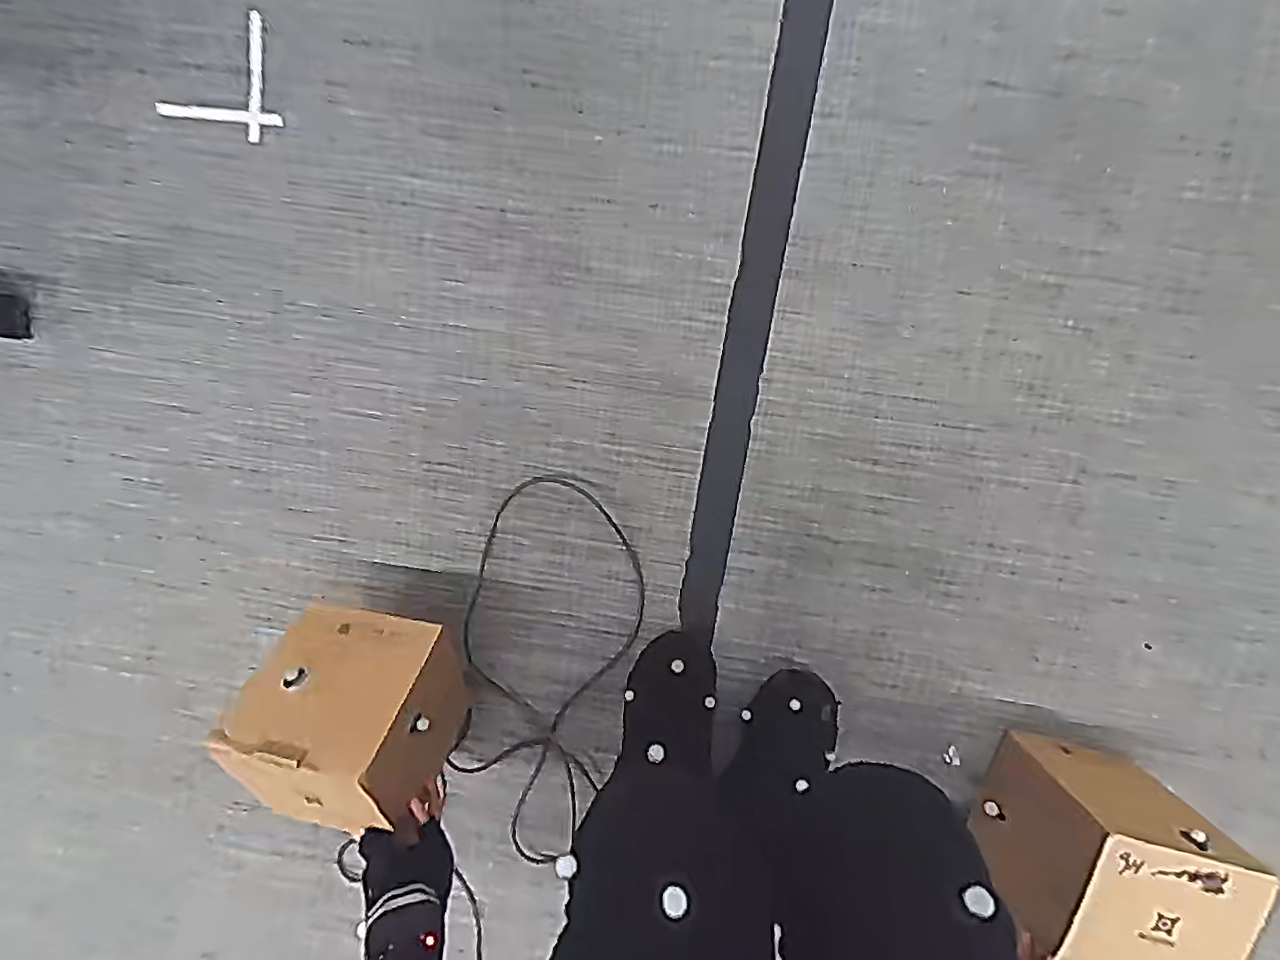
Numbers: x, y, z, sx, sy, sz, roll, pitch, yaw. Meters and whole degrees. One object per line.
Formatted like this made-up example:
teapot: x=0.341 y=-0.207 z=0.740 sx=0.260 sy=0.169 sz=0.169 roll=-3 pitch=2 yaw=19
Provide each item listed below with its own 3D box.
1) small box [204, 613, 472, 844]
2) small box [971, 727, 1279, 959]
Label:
small box: x=-0.311 y=0.272 z=0.604 sx=0.168 sy=0.176 sz=0.179 roll=8 pitch=134 yaw=9
small box: x=0.506 y=0.415 z=0.598 sx=0.168 sy=0.176 sz=0.179 roll=14 pitch=100 yaw=2
